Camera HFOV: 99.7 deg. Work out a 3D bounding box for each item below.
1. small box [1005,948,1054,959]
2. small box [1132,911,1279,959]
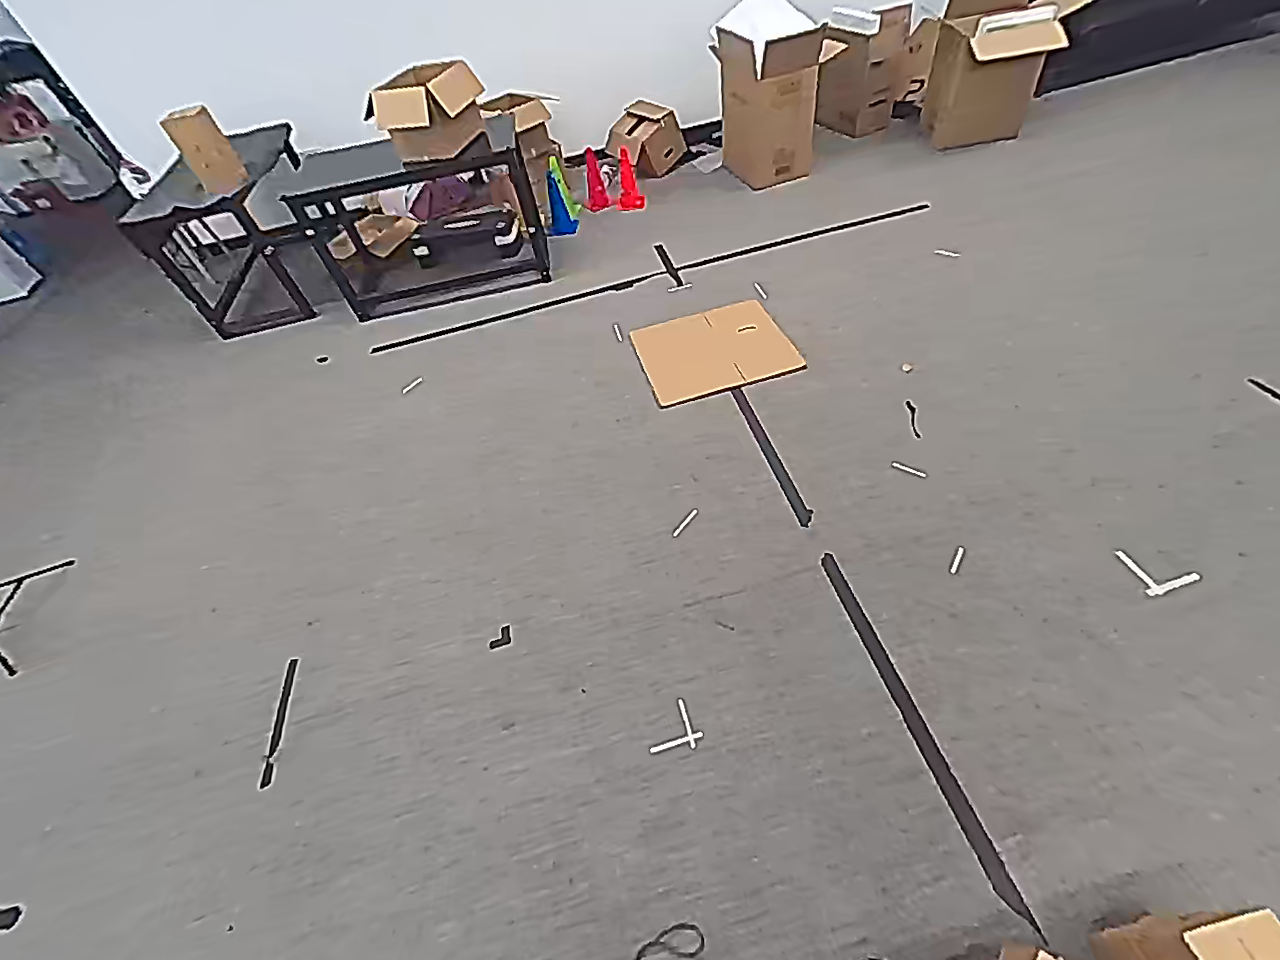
[{"bbox_3d":[0.715,0.947,0.915,0.179,0.176,0.168,27,60,28],"label":"small box"},{"bbox_3d":[1.023,0.867,0.925,0.168,0.176,0.179,-14,48,-2],"label":"small box"}]
